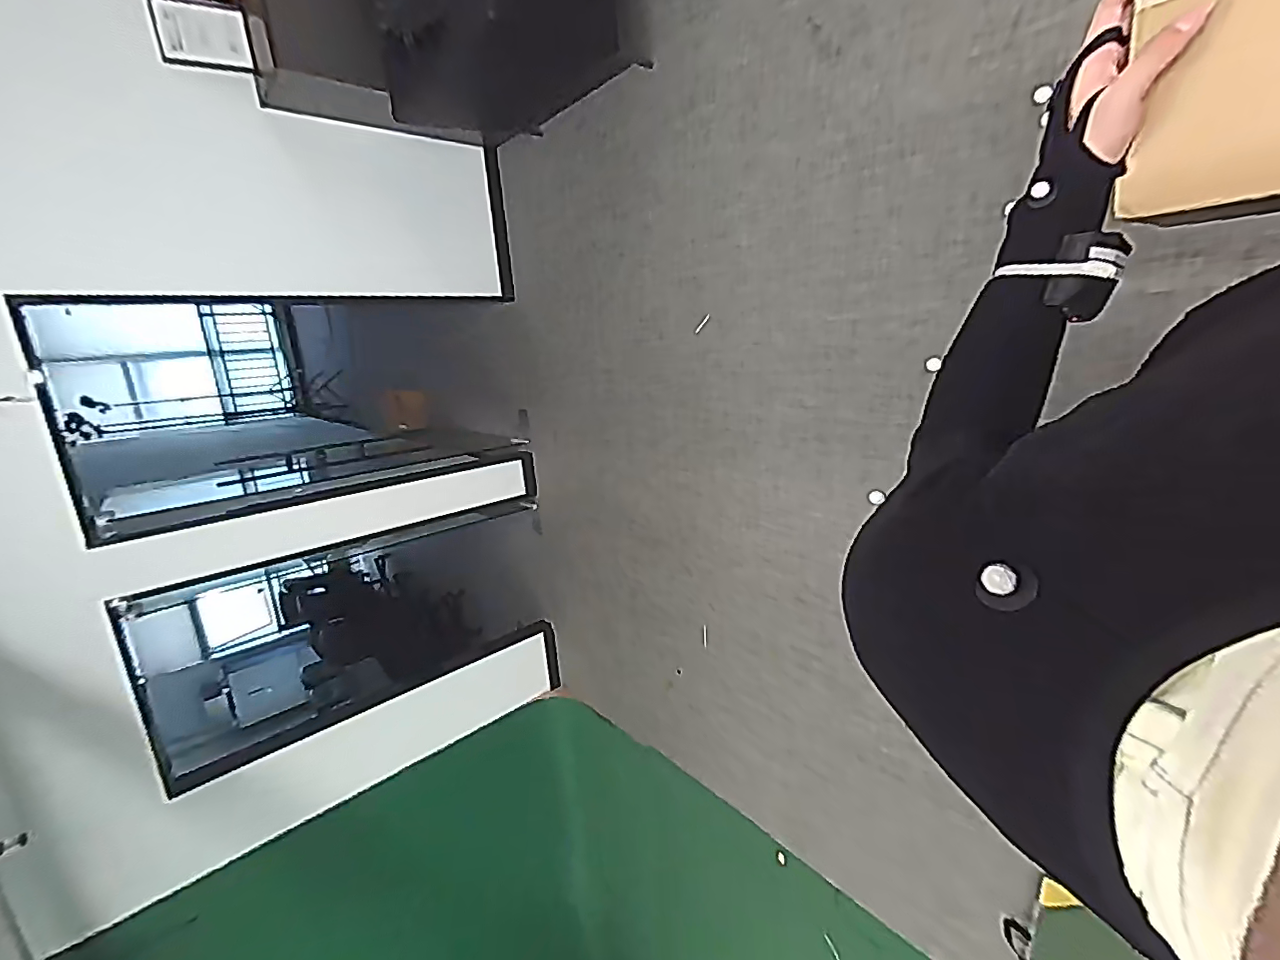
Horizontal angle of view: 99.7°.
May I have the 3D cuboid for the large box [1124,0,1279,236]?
[{"bbox_3d":[0.628,-0.379,0.369,0.408,0.320,0.320,10,112,46],"label":"large box"}]
